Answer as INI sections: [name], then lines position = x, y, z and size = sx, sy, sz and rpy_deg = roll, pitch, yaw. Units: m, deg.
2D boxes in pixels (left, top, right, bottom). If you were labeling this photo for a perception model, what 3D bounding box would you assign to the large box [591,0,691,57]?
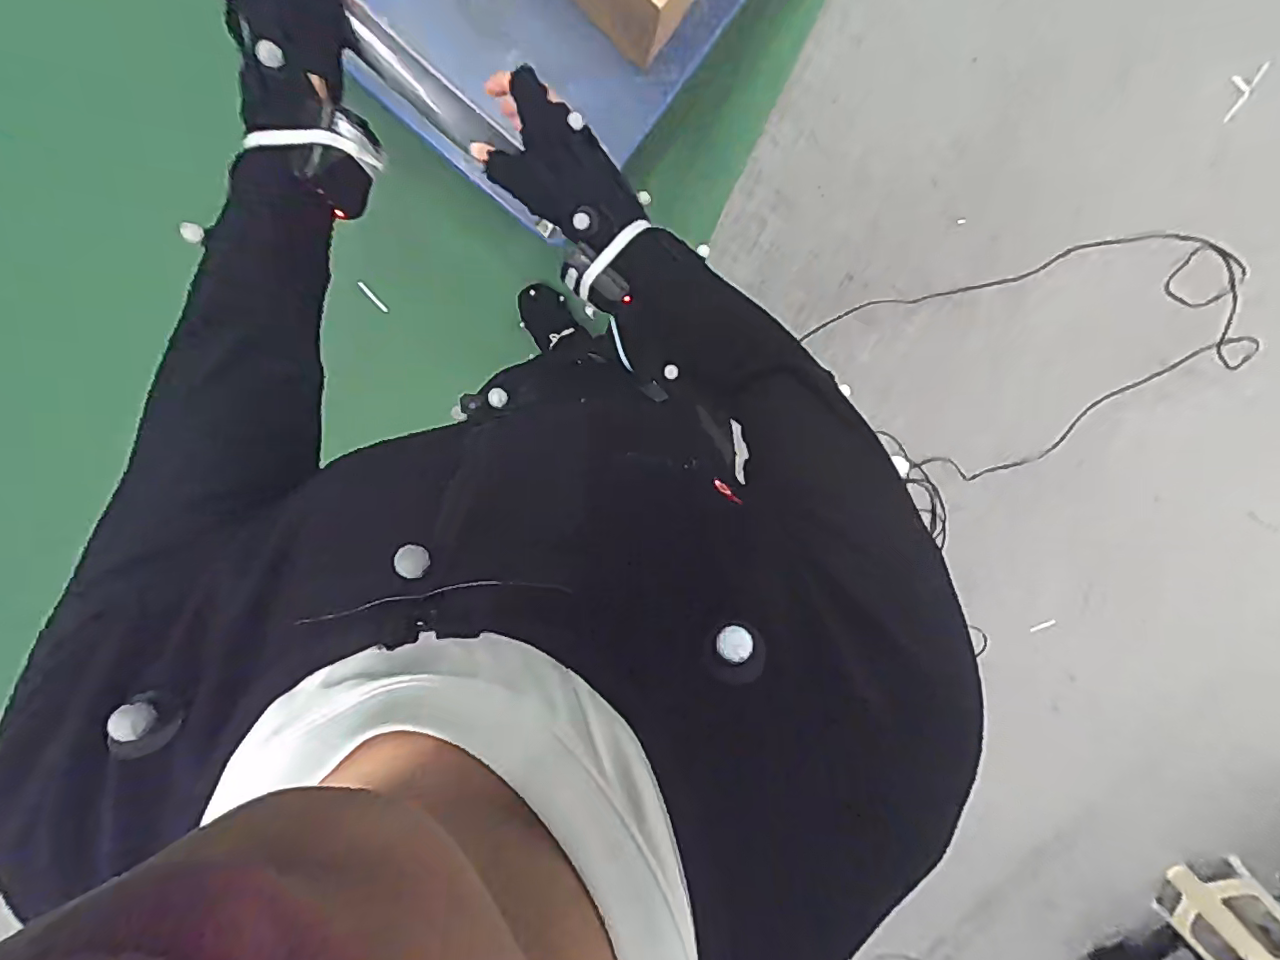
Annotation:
[large box]
position = -0.033, -0.940, 0.777
size = 0.408, 0.320, 0.320
rpy_deg = 36, 107, -18
